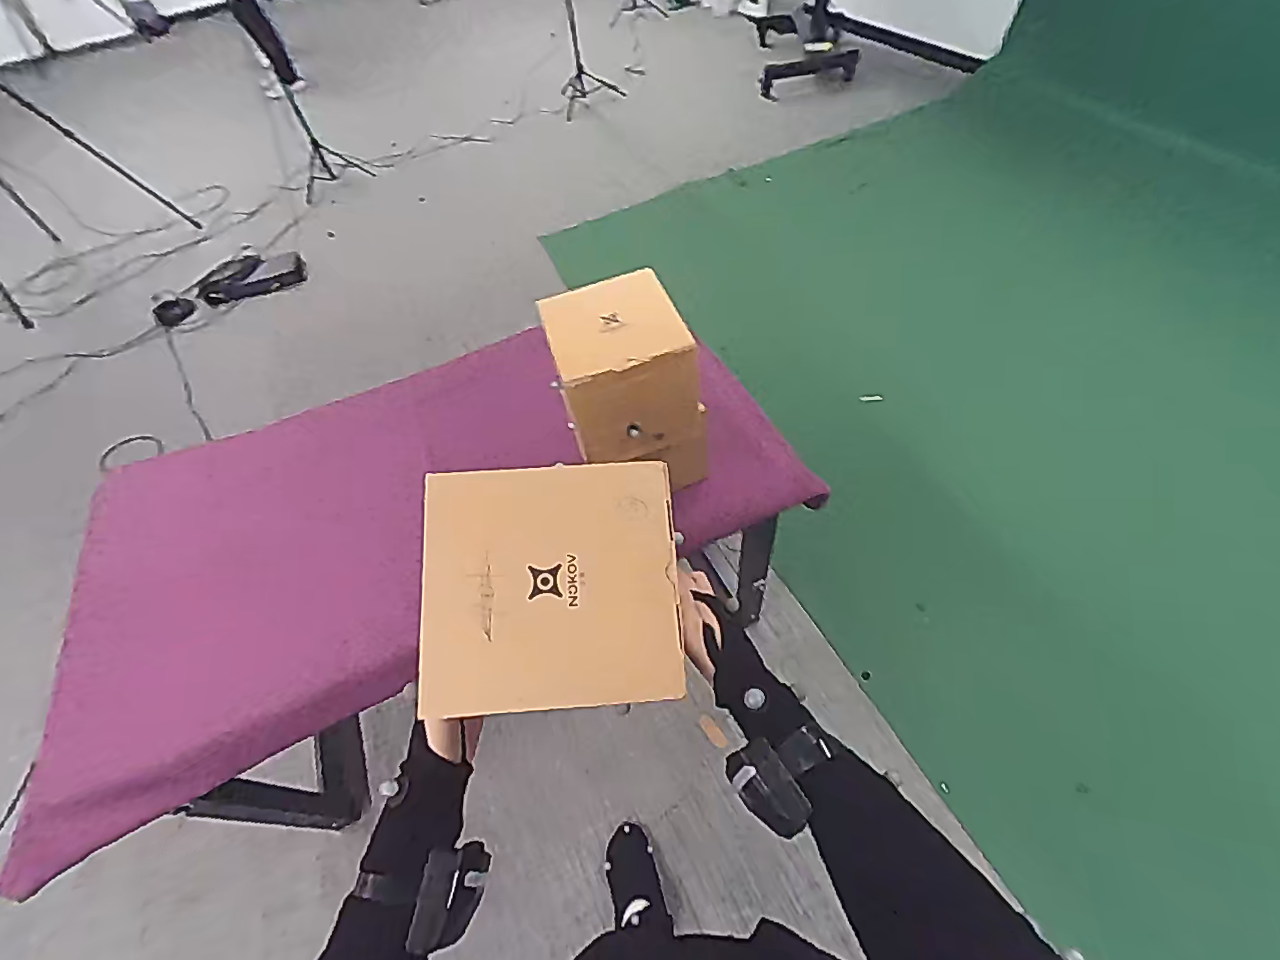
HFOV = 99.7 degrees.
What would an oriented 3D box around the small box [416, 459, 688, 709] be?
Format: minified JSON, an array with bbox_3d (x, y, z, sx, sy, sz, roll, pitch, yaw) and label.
[{"bbox_3d":[-0.062,0.087,0.444,0.179,0.176,0.168,-2,73,-2],"label":"small box"}]

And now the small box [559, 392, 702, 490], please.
[{"bbox_3d":[-0.011,-0.073,0.894,0.179,0.176,0.168,-25,51,-11],"label":"small box"}]

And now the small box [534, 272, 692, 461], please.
[{"bbox_3d":[-0.034,-0.152,0.752,0.168,0.176,0.179,-19,53,-5],"label":"small box"}]
